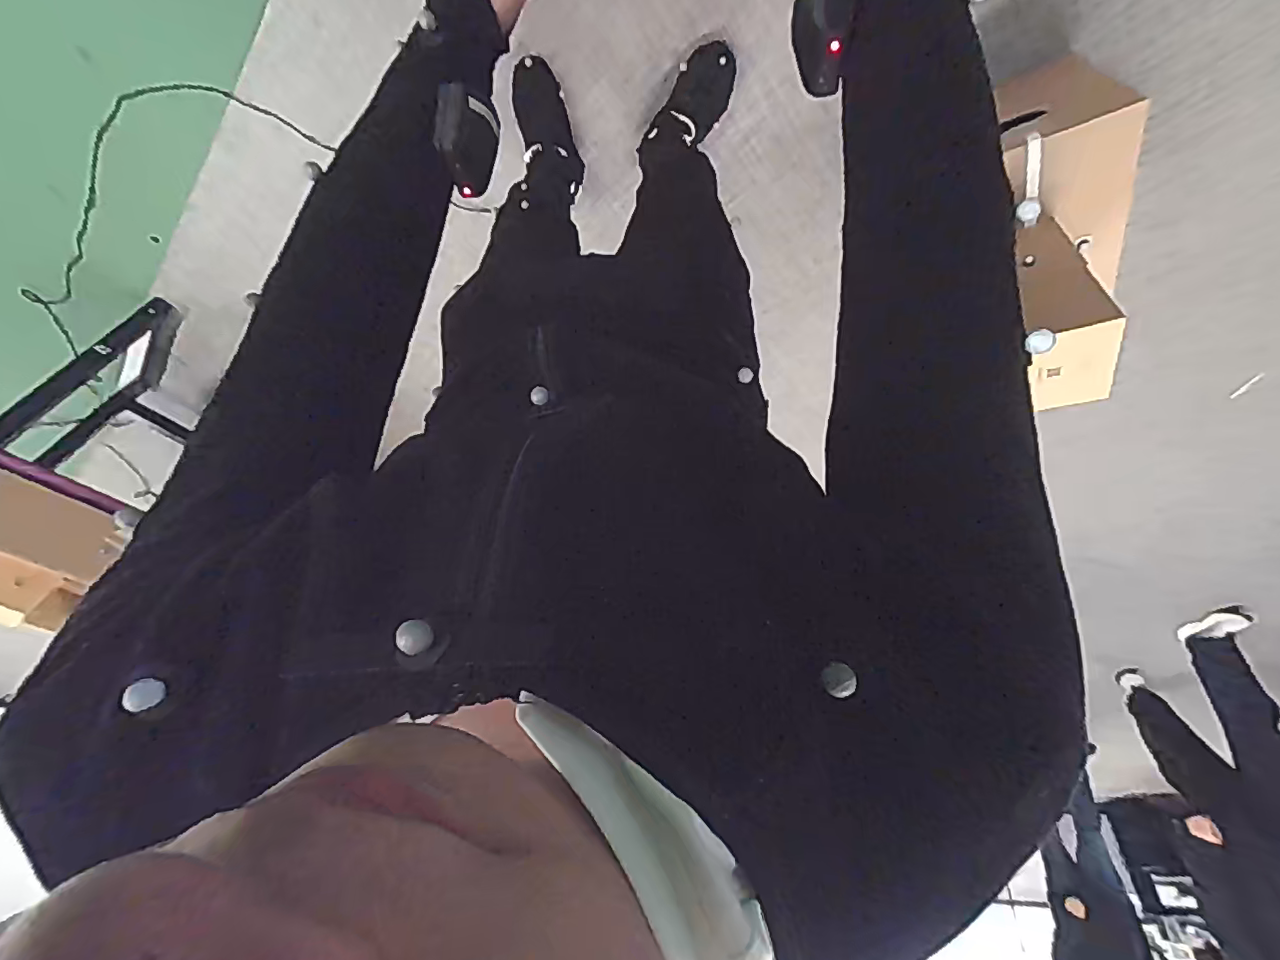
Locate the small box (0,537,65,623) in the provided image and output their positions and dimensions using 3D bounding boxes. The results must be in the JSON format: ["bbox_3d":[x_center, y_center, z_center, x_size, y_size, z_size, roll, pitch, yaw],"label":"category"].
[{"bbox_3d":[-1.813,0.284,1.545,0.179,0.176,0.168,-25,131,33],"label":"small box"}]

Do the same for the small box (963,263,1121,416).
[{"bbox_3d":[0.673,-0.240,0.932,0.179,0.176,0.168,-10,137,23],"label":"small box"}]
